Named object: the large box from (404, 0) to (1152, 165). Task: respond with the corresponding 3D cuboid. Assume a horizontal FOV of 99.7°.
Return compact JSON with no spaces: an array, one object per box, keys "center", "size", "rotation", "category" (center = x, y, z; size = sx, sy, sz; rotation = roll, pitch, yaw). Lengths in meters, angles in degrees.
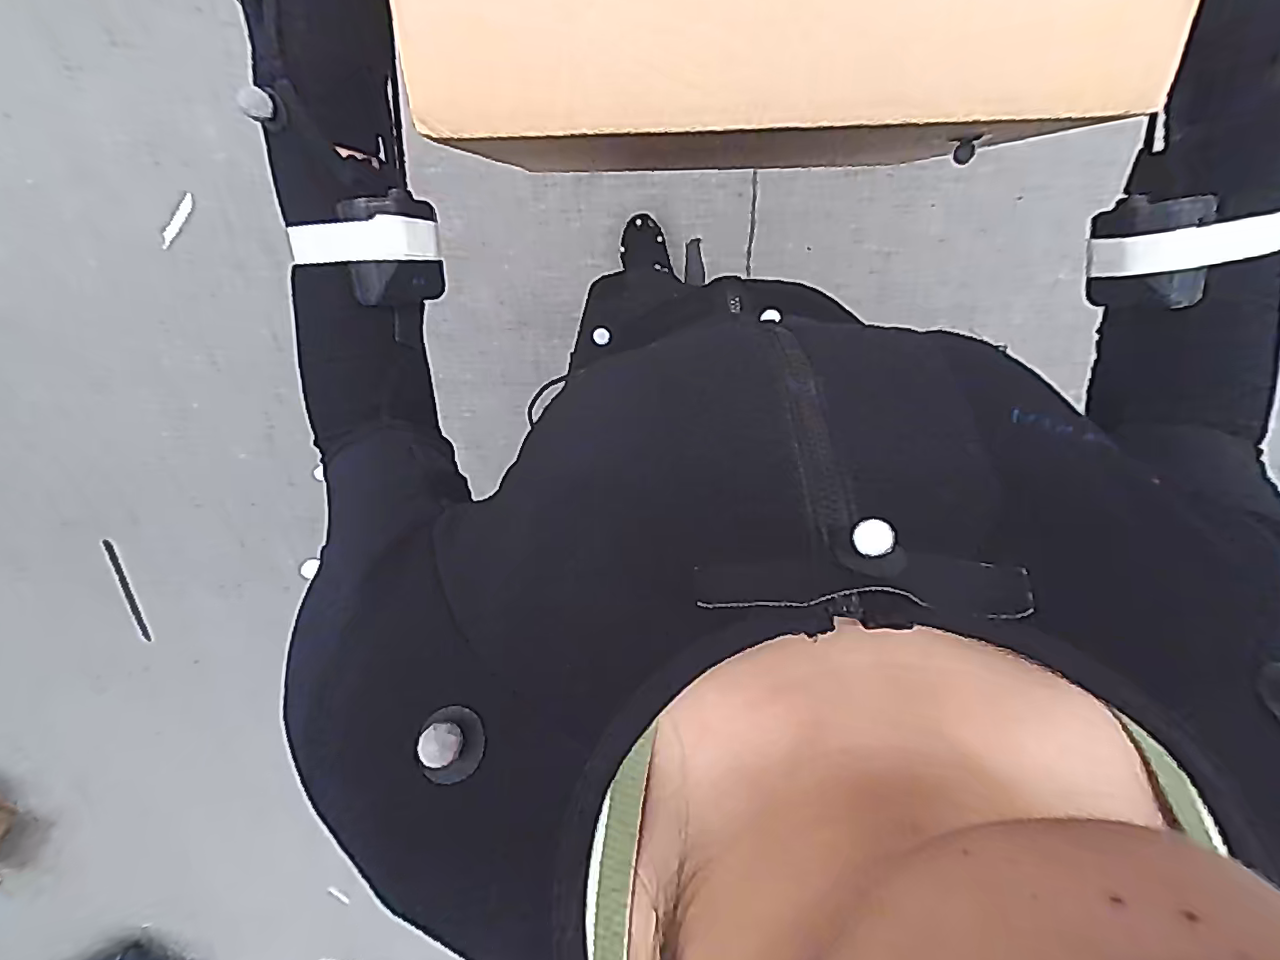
[{"center":[0.072,-0.409,0.374],"size":[0.408,0.320,0.320],"rotation":[-1,116,2],"category":"large box"}]
